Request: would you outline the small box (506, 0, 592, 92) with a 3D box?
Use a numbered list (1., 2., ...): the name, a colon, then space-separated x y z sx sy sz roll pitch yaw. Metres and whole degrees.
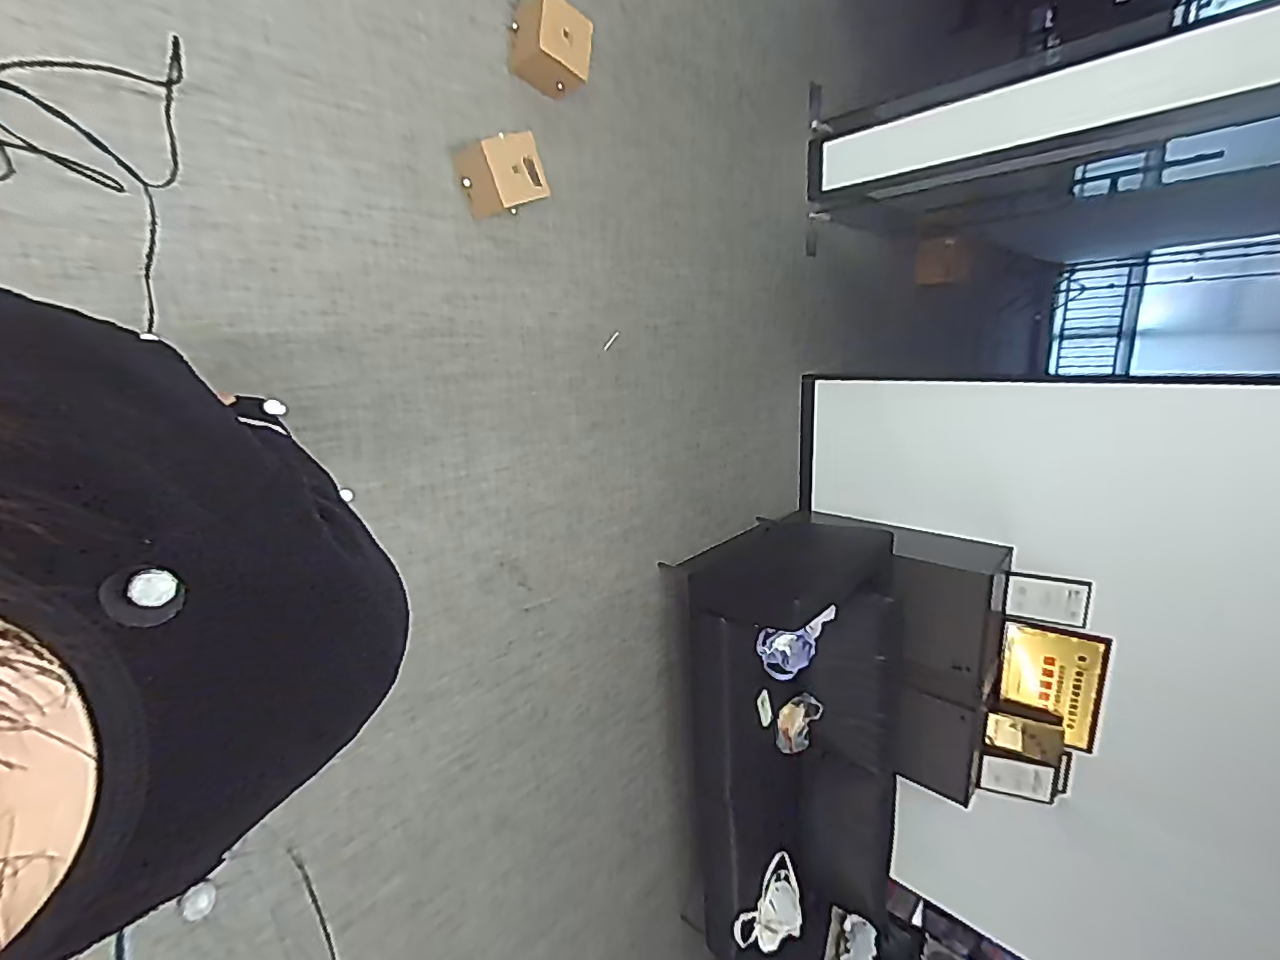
1. small box: -0.267 -1.282 1.586 0.179 0.176 0.168 1 97 -46
